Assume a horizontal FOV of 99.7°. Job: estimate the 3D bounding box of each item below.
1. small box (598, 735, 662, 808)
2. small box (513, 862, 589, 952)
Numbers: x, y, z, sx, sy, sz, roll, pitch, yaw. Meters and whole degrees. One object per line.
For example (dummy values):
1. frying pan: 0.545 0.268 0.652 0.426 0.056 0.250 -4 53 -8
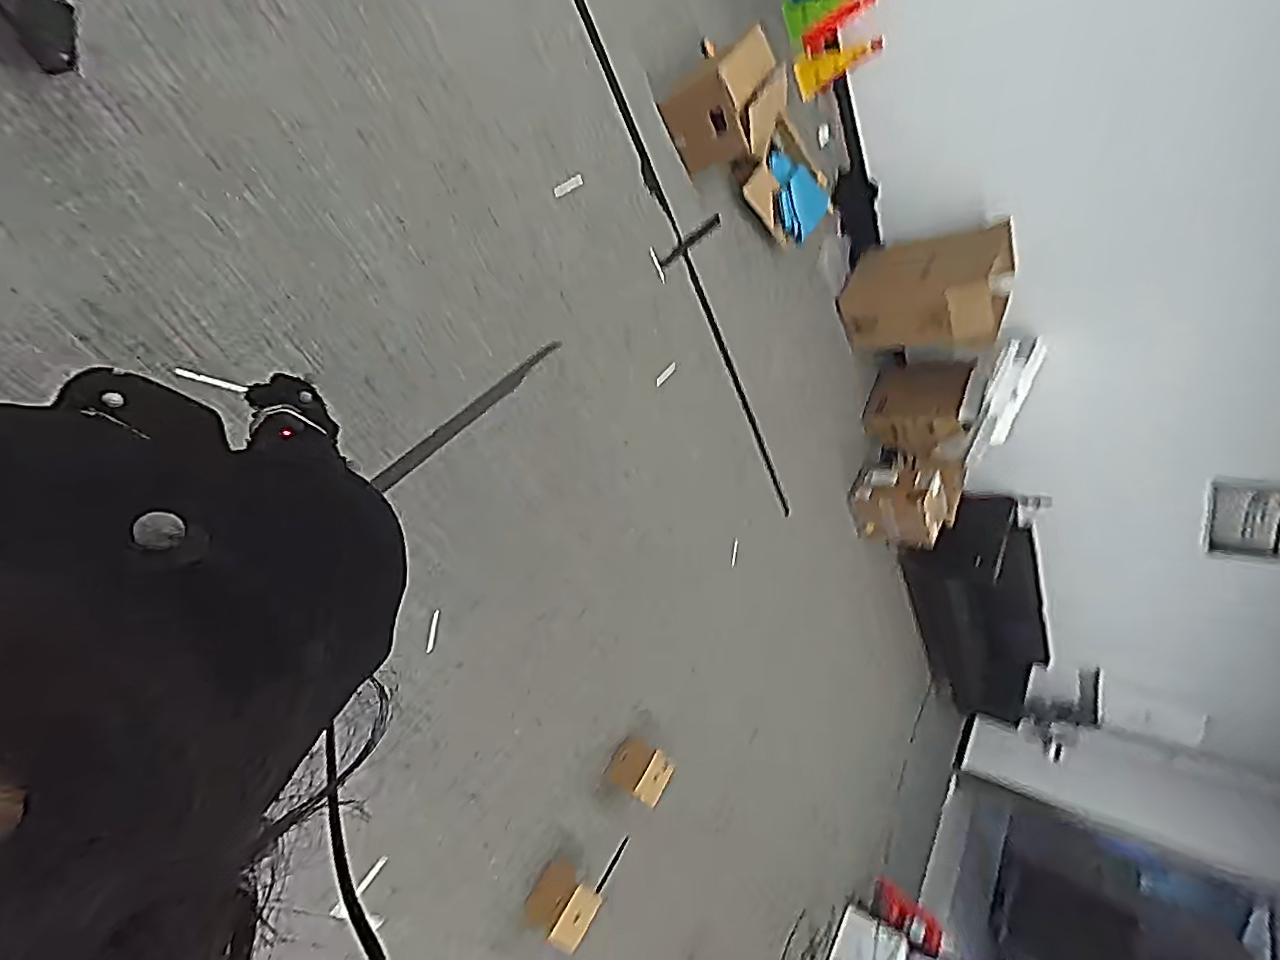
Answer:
1. small box: -0.047 1.188 2.210 0.179 0.176 0.168 -51 127 -31
2. small box: -0.324 1.527 1.944 0.179 0.176 0.168 -51 125 -30
